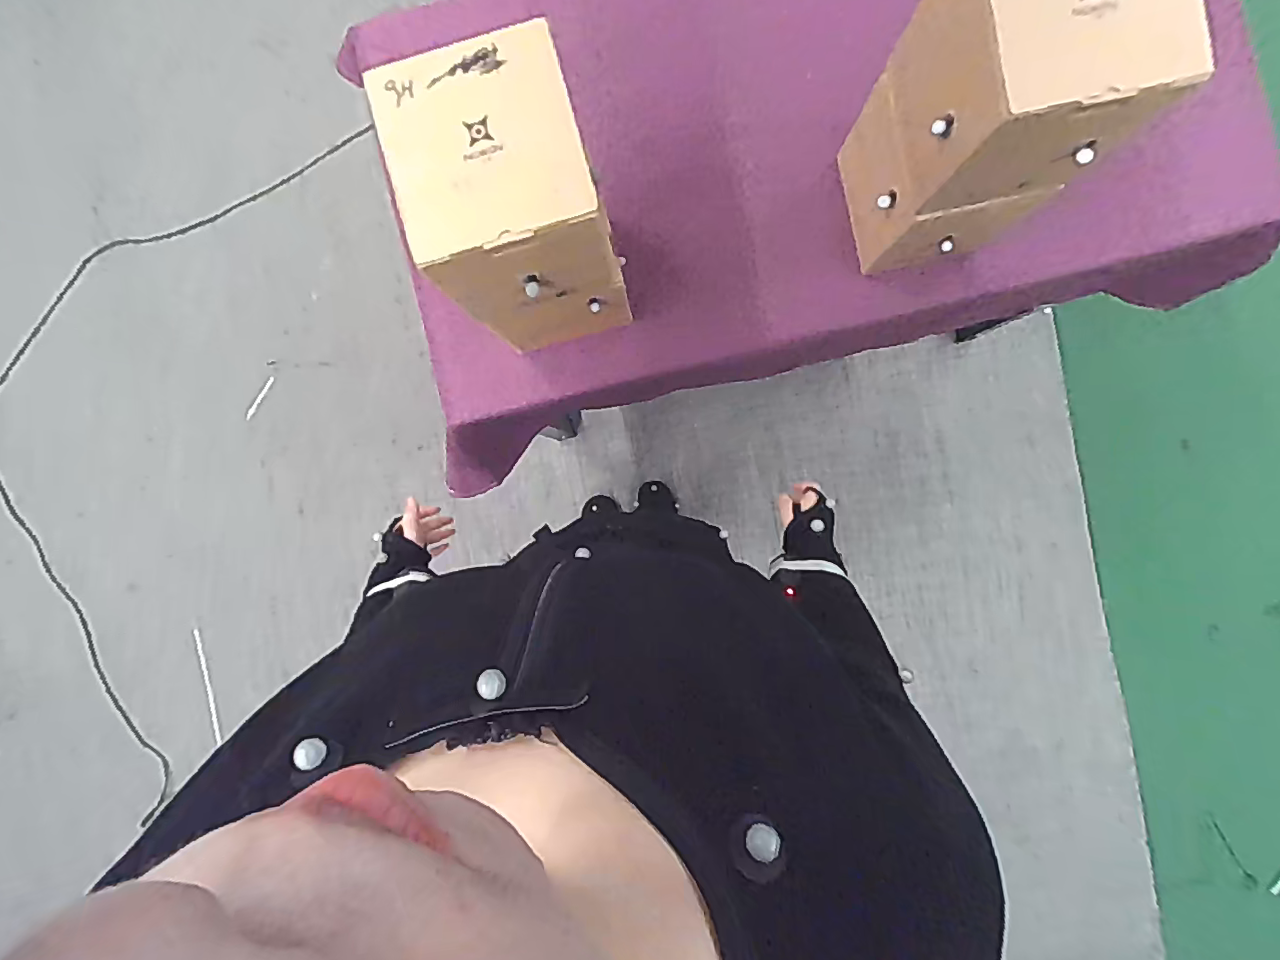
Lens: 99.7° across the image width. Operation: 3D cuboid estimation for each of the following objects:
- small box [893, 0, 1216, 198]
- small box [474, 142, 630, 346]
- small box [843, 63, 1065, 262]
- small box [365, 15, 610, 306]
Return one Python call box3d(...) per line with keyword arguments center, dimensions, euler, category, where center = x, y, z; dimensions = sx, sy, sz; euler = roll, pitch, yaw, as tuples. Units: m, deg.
box3d(center=(0.364, -0.393, 0.509), dimensions=(0.168, 0.176, 0.179), euler=(-10, 90, 3), category="small box")
box3d(center=(-0.119, -0.288, 0.701), dimensions=(0.179, 0.176, 0.168), euler=(-15, 89, 2), category="small box")
box3d(center=(0.373, -0.391, 0.672), dimensions=(0.168, 0.176, 0.179), euler=(-12, 90, 3), category="small box")
box3d(center=(-0.132, -0.289, 0.537), dimensions=(0.168, 0.176, 0.179), euler=(-15, 90, 2), category="small box")
